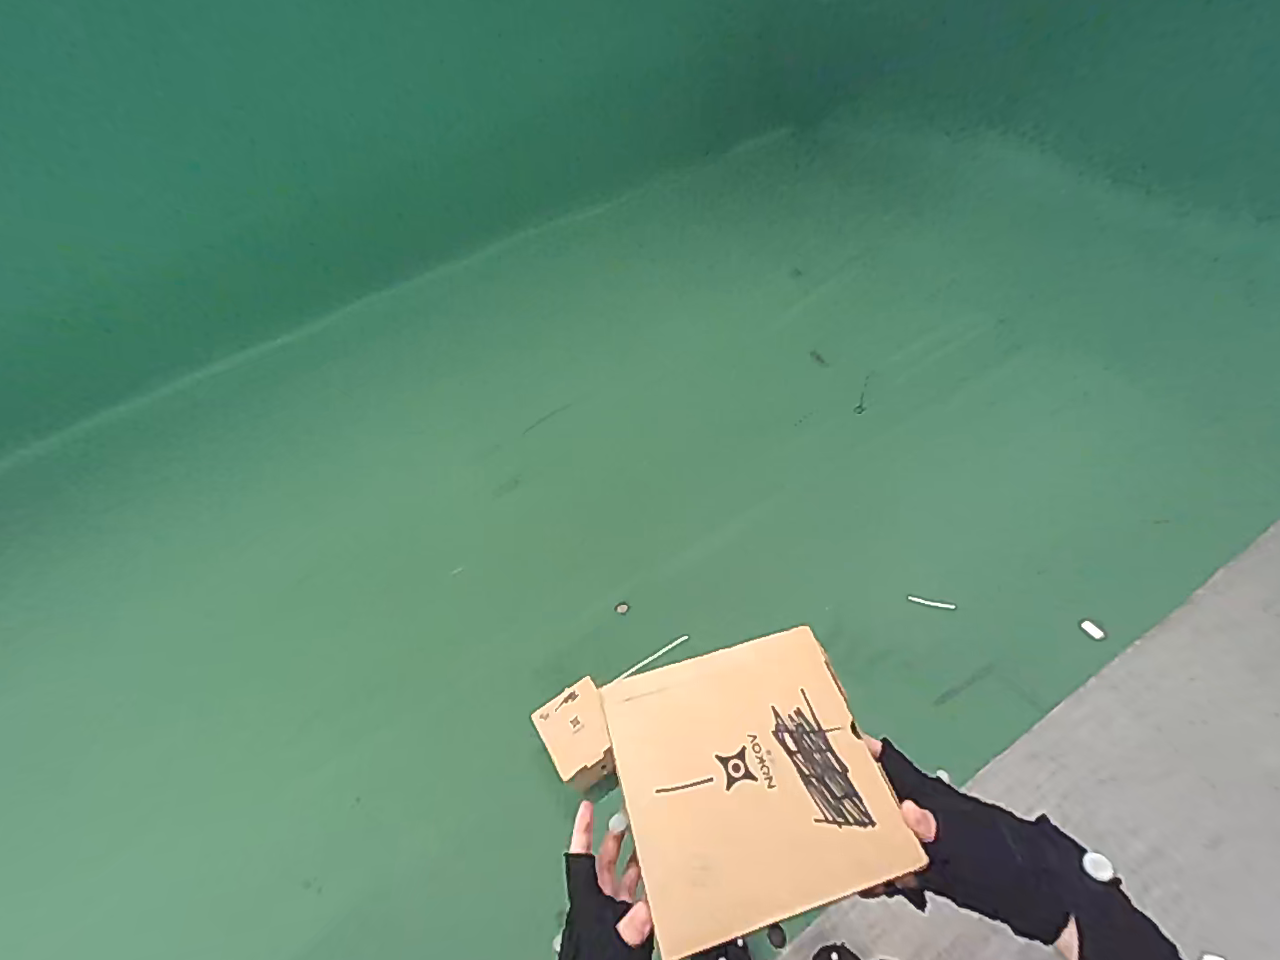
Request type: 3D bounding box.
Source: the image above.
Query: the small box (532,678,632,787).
[{"bbox_3d":[-0.135,0.621,1.318,0.168,0.176,0.179,-31,55,-13],"label":"small box"}]
